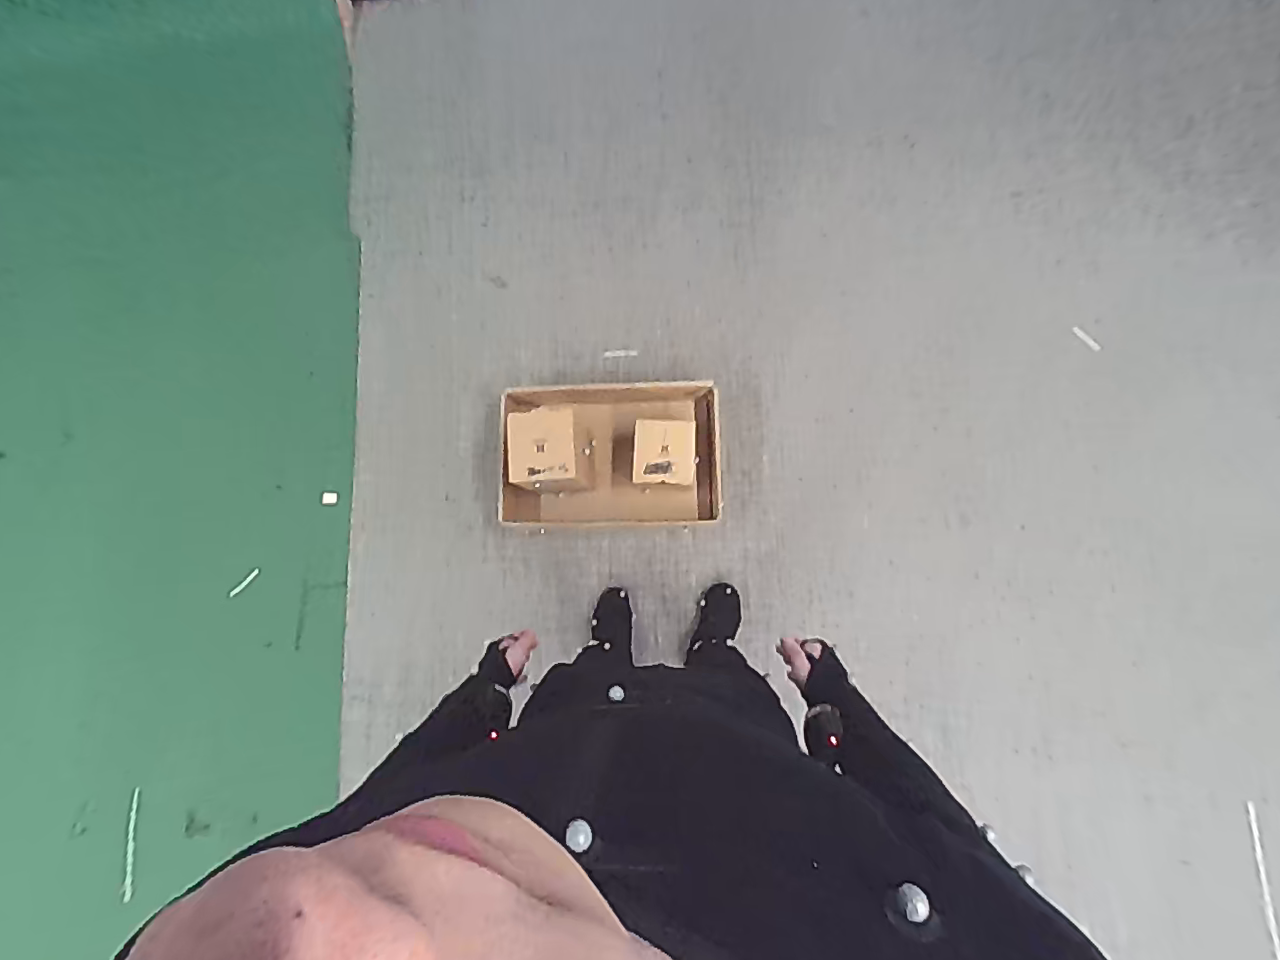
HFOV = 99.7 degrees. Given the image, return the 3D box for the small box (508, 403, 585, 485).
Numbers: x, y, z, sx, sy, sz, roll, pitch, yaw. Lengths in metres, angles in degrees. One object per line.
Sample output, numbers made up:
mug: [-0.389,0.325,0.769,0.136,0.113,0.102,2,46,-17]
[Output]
small box: [-0.237,-0.089,1.397,0.168,0.176,0.179,-4,82,4]
